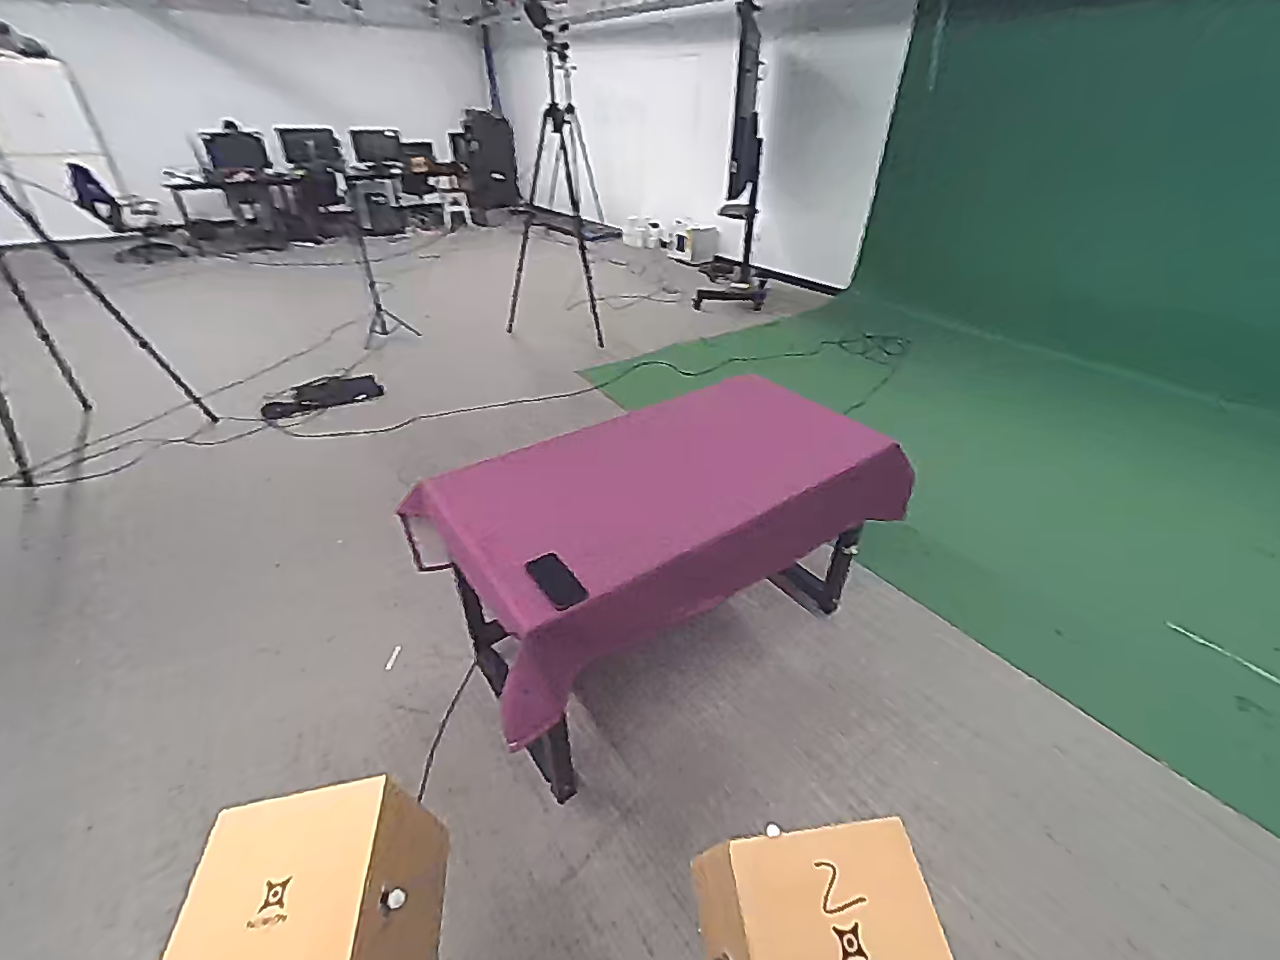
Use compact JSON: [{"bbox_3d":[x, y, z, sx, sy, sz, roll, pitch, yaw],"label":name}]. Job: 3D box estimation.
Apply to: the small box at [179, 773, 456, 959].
[{"bbox_3d":[-0.294,0.420,0.527,0.168,0.176,0.179,-11,43,0],"label":"small box"}]
